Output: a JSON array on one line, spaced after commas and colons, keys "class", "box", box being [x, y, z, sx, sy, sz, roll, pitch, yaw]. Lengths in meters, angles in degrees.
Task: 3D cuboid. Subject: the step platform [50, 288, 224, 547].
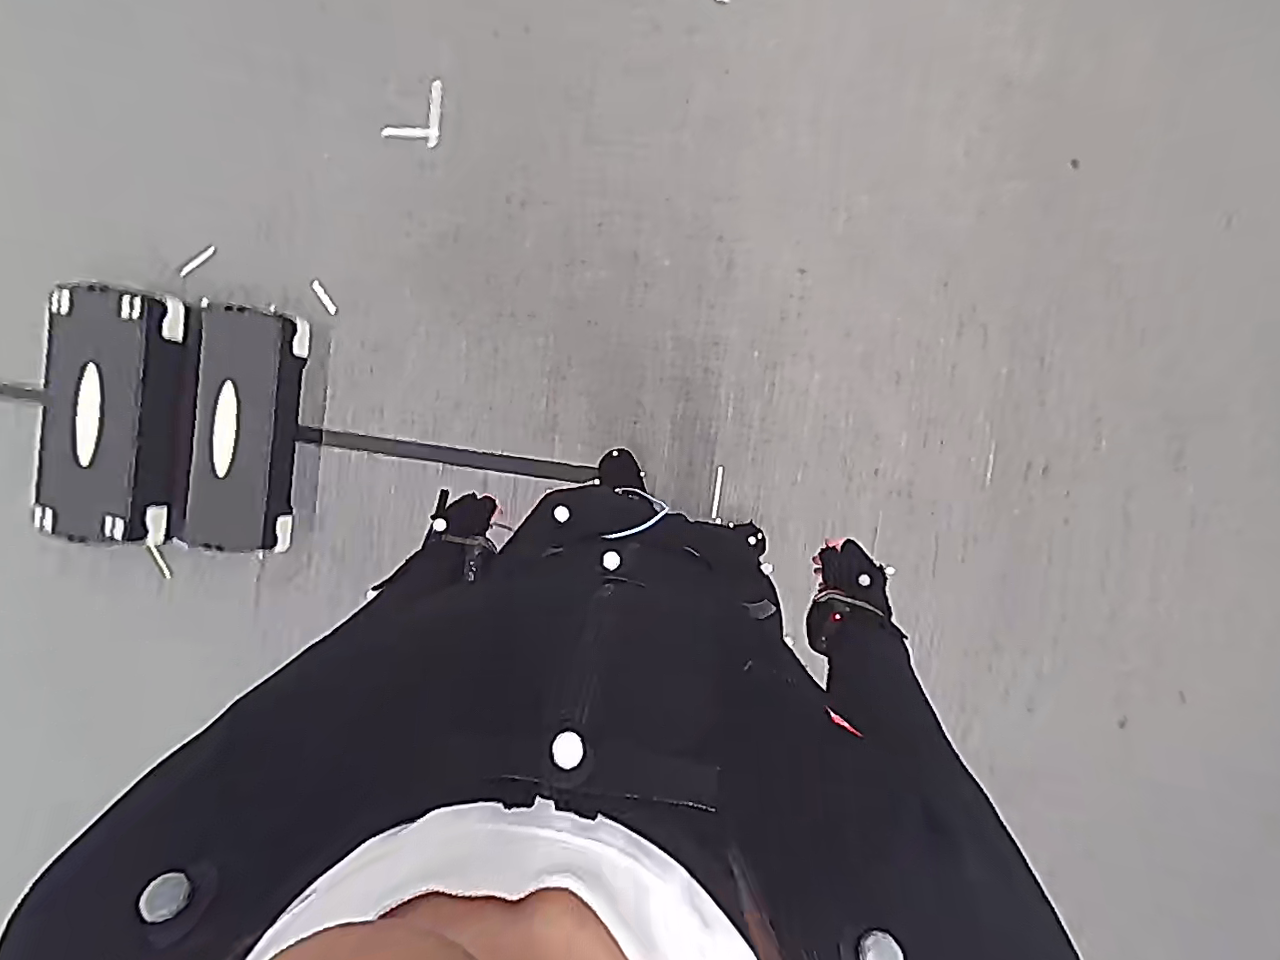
[{"class": "step platform", "box": [-1.361, -0.162, 1.470, 0.286, 0.204, 0.684, 7, 92, 4]}]
